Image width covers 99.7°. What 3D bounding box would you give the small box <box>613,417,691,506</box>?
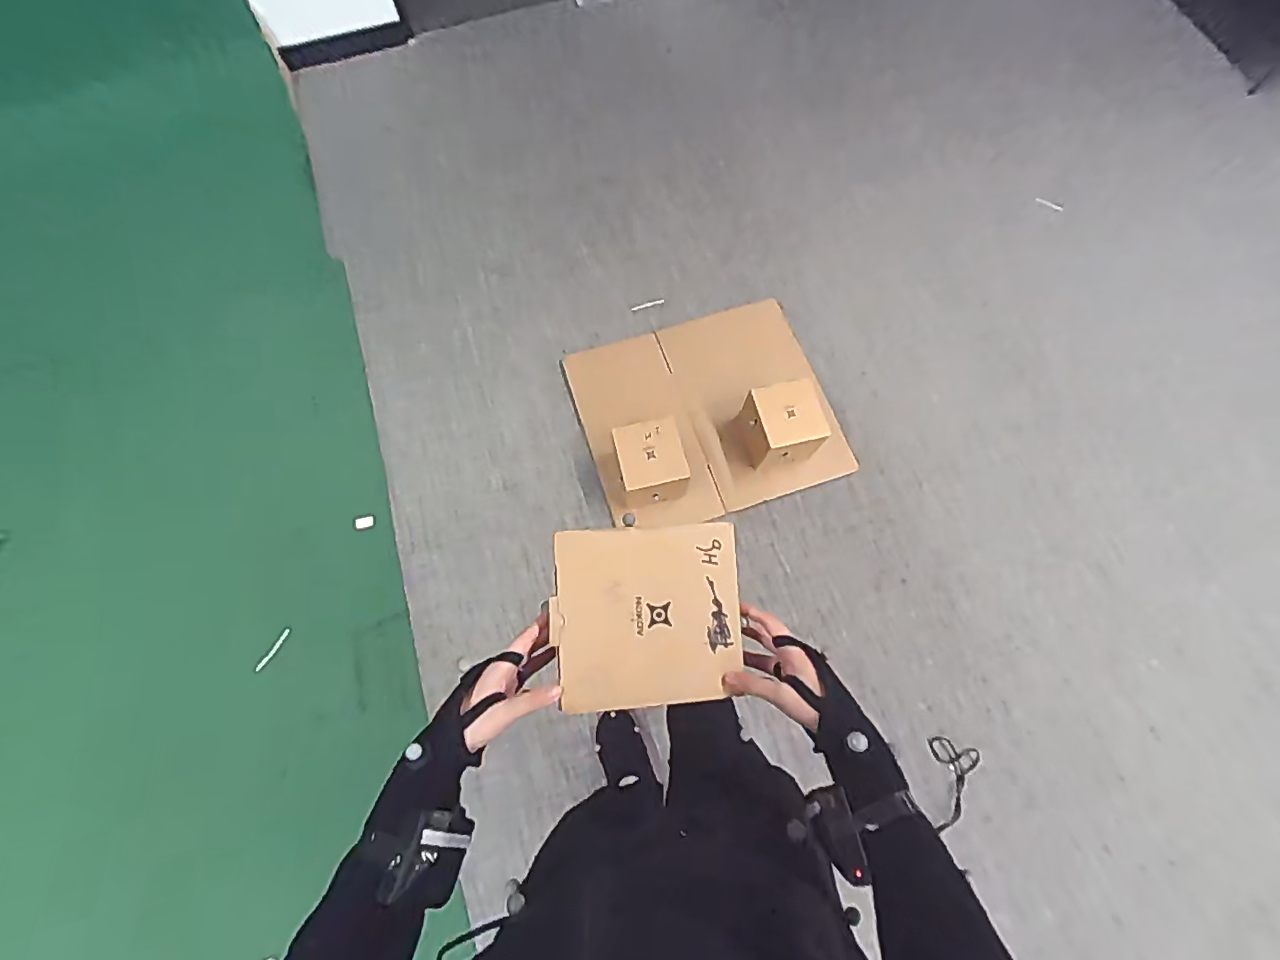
[{"bbox_3d":[0.029,-0.039,1.412,0.168,0.176,0.179,-12,72,-5],"label":"small box"}]

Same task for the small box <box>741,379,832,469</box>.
[{"bbox_3d":[0.383,-0.142,1.448,0.168,0.176,0.179,-13,71,-5],"label":"small box"}]
